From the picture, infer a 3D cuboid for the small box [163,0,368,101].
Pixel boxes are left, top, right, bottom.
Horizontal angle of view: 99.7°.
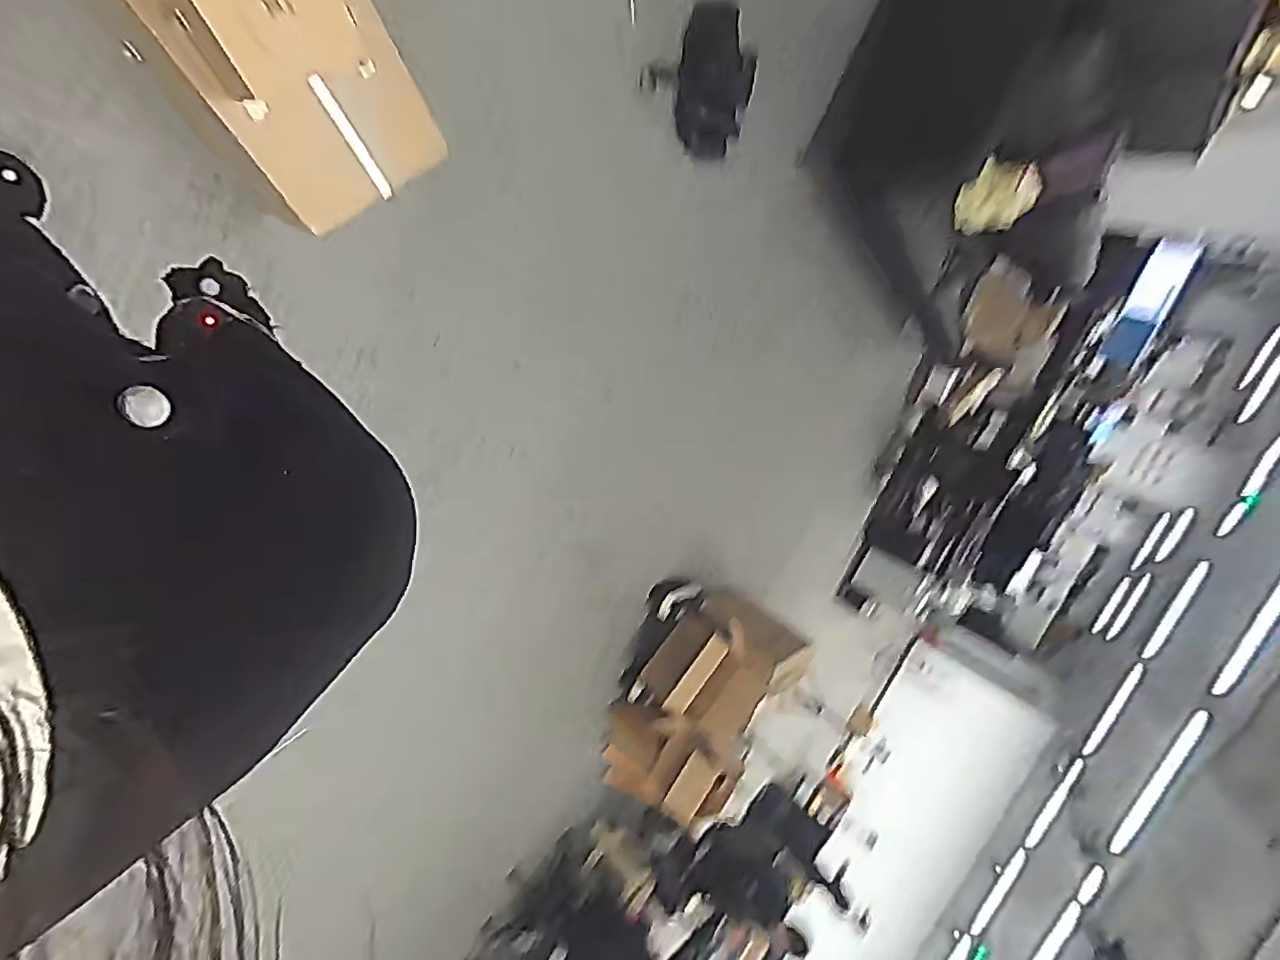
[{"bbox_3d":[-0.515,-0.638,0.728,0.179,0.176,0.168,-41,139,-19],"label":"small box"}]
